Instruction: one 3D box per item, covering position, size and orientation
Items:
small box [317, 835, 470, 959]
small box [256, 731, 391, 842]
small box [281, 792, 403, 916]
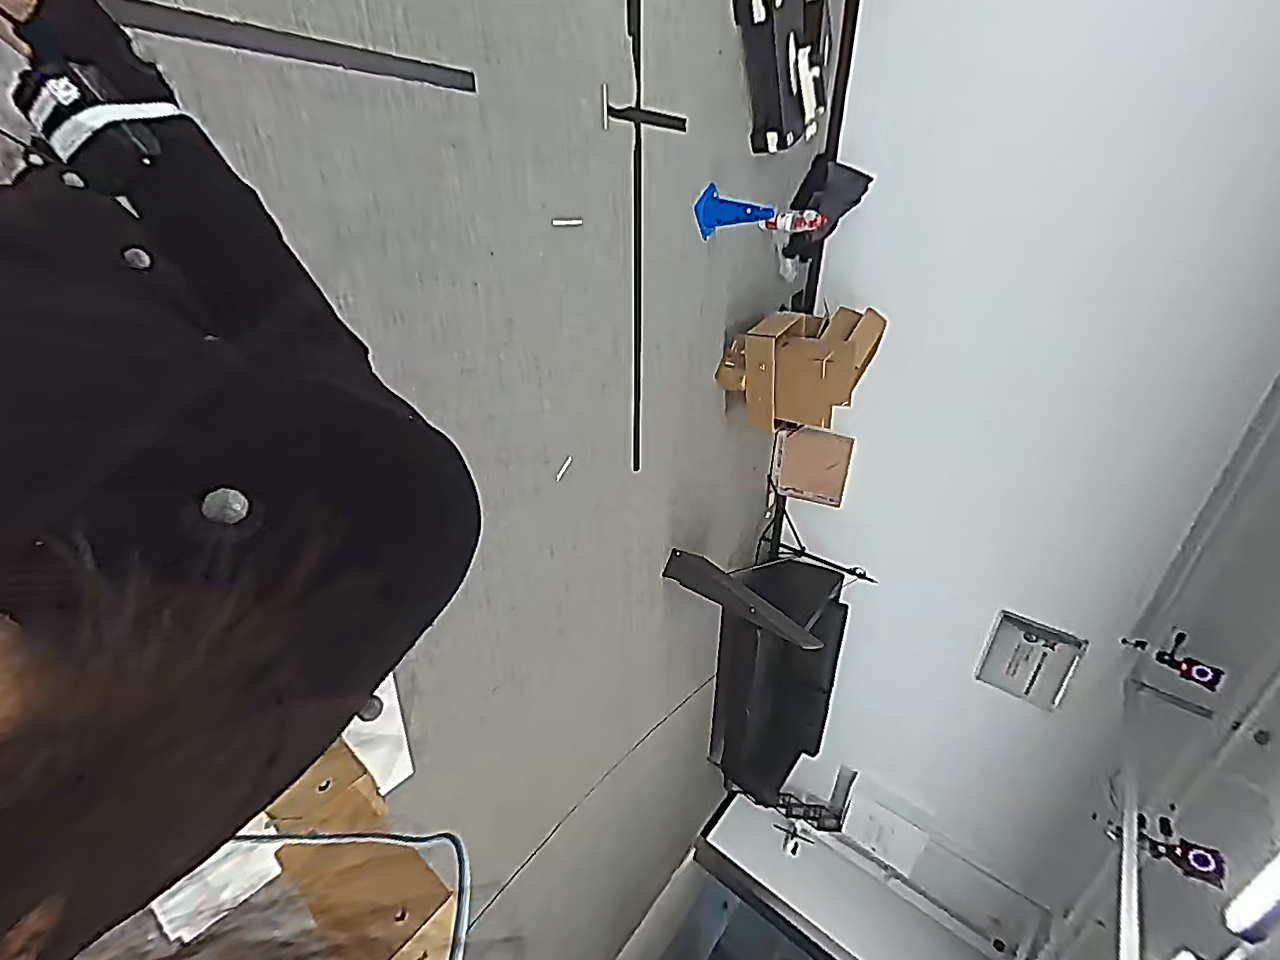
[{"bbox_3d":[-0.438,0.796,0.974,0.179,0.176,0.168,-31,131,-43],"label":"small box"},{"bbox_3d":[-0.680,0.688,1.168,0.179,0.176,0.168,-34,133,-40],"label":"small box"},{"bbox_3d":[-0.569,0.760,1.069,0.168,0.176,0.179,-34,133,-41],"label":"small box"}]
